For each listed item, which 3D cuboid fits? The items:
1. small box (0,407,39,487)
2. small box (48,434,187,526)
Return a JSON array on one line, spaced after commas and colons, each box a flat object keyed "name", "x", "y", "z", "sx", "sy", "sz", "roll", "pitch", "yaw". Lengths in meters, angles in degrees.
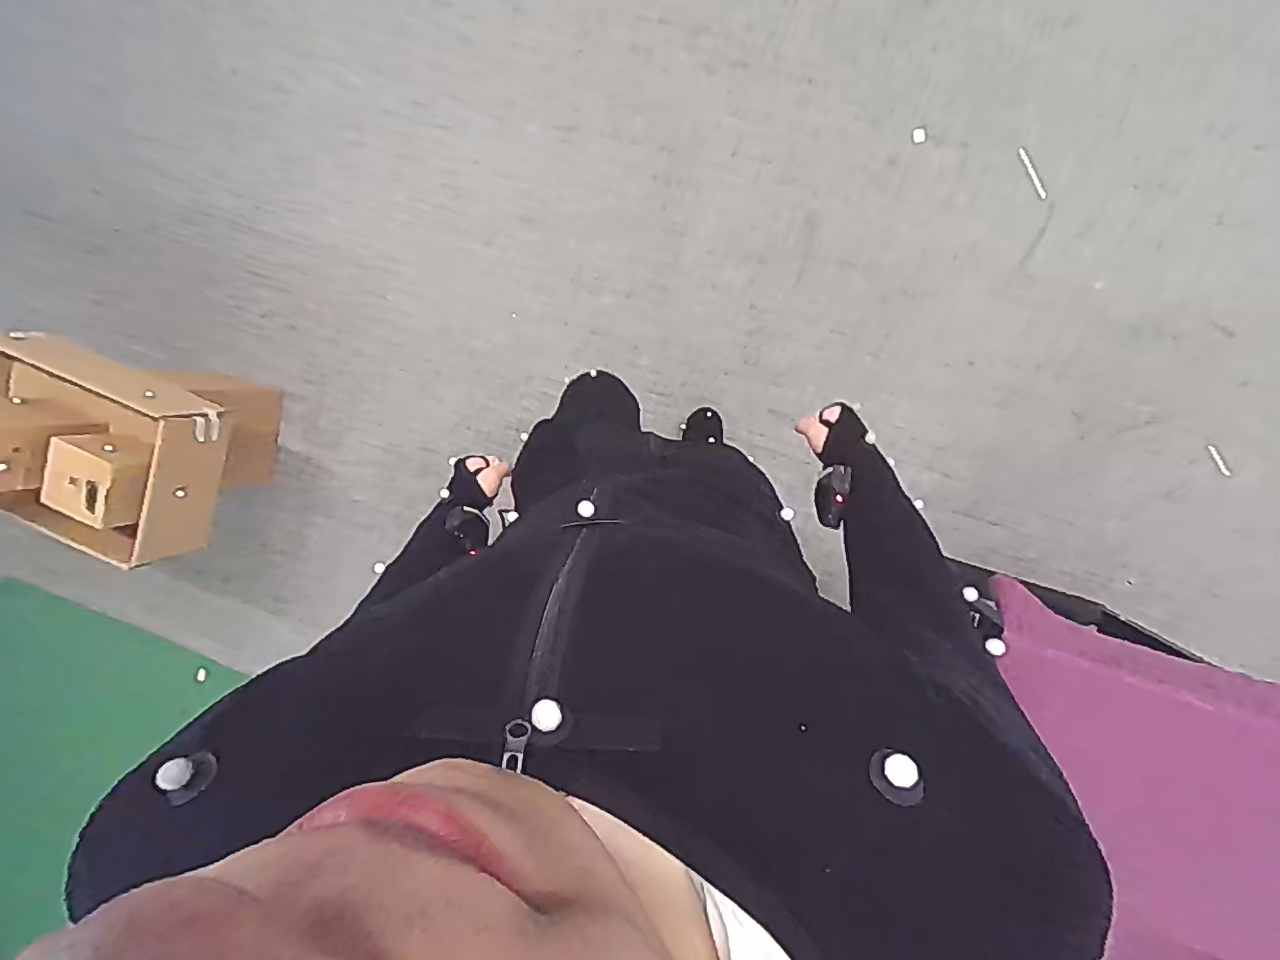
[{"name": "small box", "x": -1.504, "y": -0.078, "z": 1.186, "sx": 0.179, "sy": 0.176, "sz": 0.168, "roll": 21, "pitch": 100, "yaw": 3}, {"name": "small box", "x": -1.265, "y": -0.010, "z": 1.320, "sx": 0.179, "sy": 0.176, "sz": 0.168, "roll": 23, "pitch": 100, "yaw": 7}]
